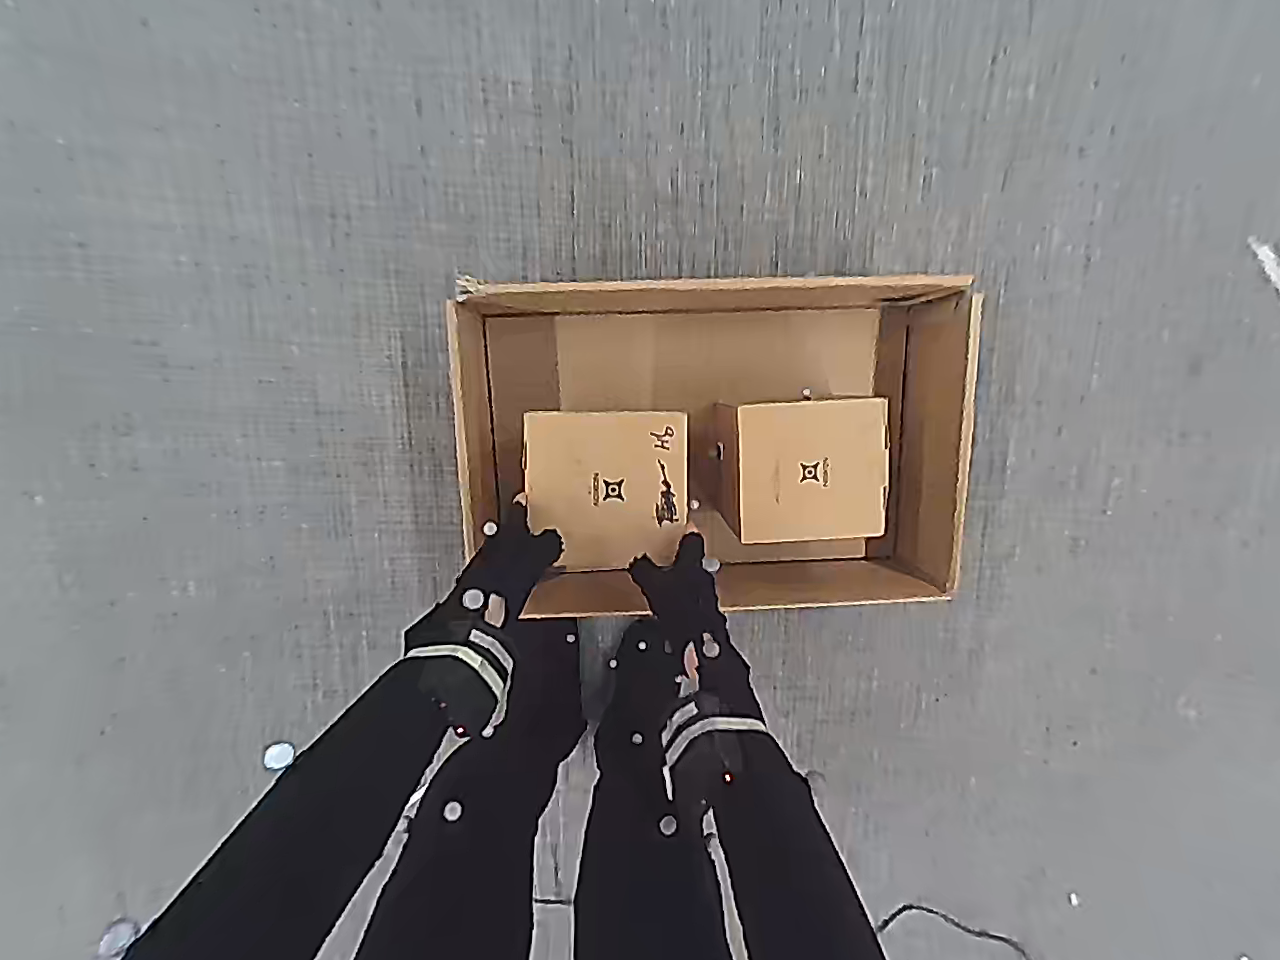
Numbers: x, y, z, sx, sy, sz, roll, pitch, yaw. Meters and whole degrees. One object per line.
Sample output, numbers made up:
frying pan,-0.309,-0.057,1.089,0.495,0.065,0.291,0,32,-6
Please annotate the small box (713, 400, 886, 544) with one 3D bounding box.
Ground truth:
small box,0.199,-0.020,0.714,0.179,0.176,0.168,-3,99,-1

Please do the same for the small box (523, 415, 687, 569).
small box,-0.034,0.013,0.653,0.179,0.176,0.168,-1,90,1
